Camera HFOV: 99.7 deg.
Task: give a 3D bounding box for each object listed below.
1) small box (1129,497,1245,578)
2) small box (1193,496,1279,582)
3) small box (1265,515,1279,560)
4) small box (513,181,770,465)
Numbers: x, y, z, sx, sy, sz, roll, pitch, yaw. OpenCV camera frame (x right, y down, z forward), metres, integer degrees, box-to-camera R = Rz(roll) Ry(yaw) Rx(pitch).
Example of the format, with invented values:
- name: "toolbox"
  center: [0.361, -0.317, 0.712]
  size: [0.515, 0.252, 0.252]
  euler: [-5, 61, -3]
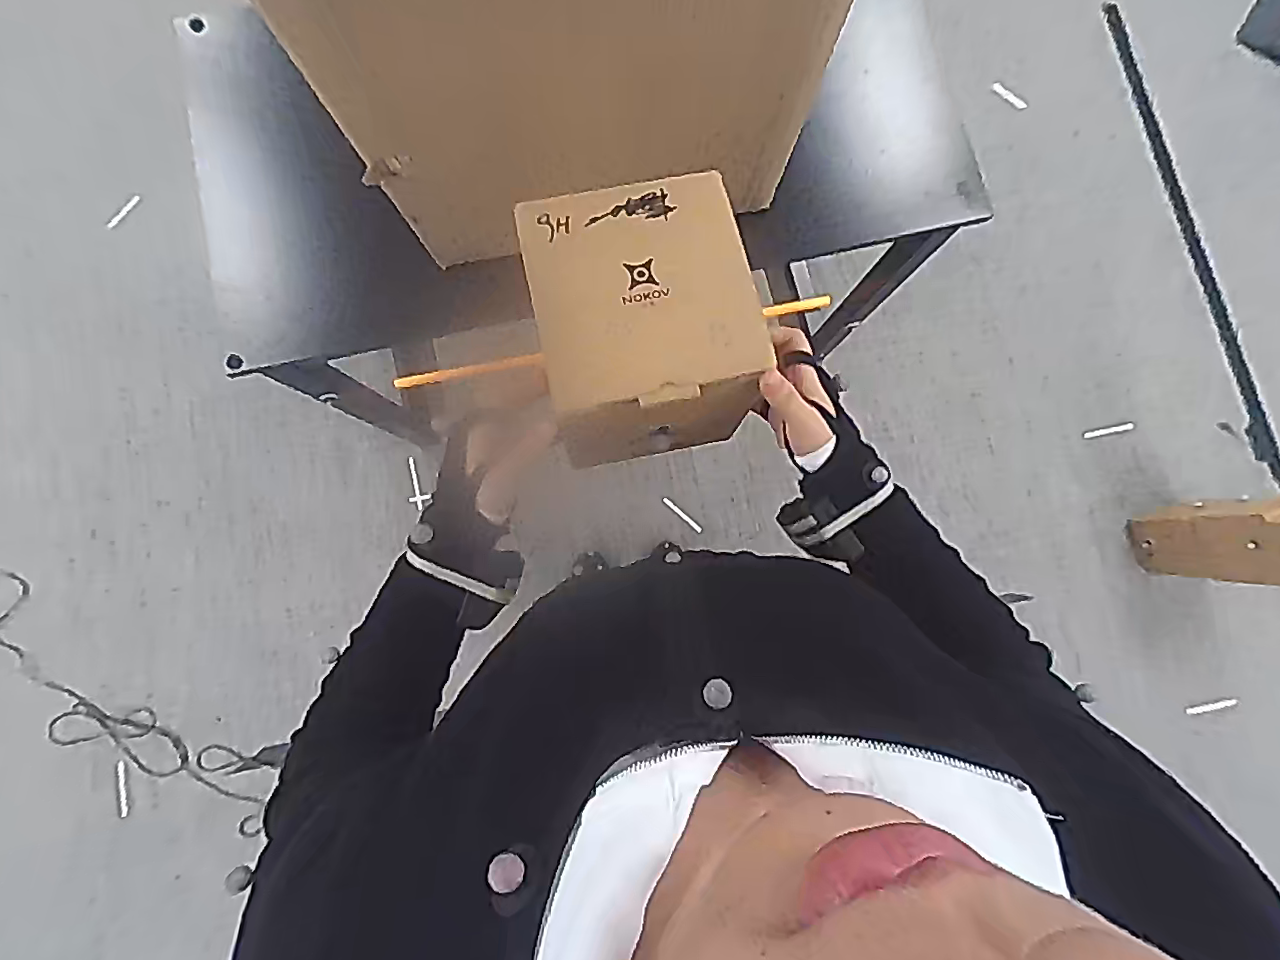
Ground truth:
- name: "small box"
  center: [1.495, 0.154, 1.456]
  size: [0.179, 0.176, 0.168]
  euler: [-19, 83, -2]
- name: "small box"
  center: [1.500, 0.140, 1.292]
  size: [0.168, 0.176, 0.179]
  euler: [-17, 84, -2]
- name: "small box"
  center: [1.500, 0.130, 1.127]
  size: [0.179, 0.176, 0.168]
  euler: [-20, 84, -3]
- name: "small box"
  center: [-0.002, -0.121, 0.483]
  size: [0.168, 0.176, 0.179]
  euler: [-12, 78, -5]
